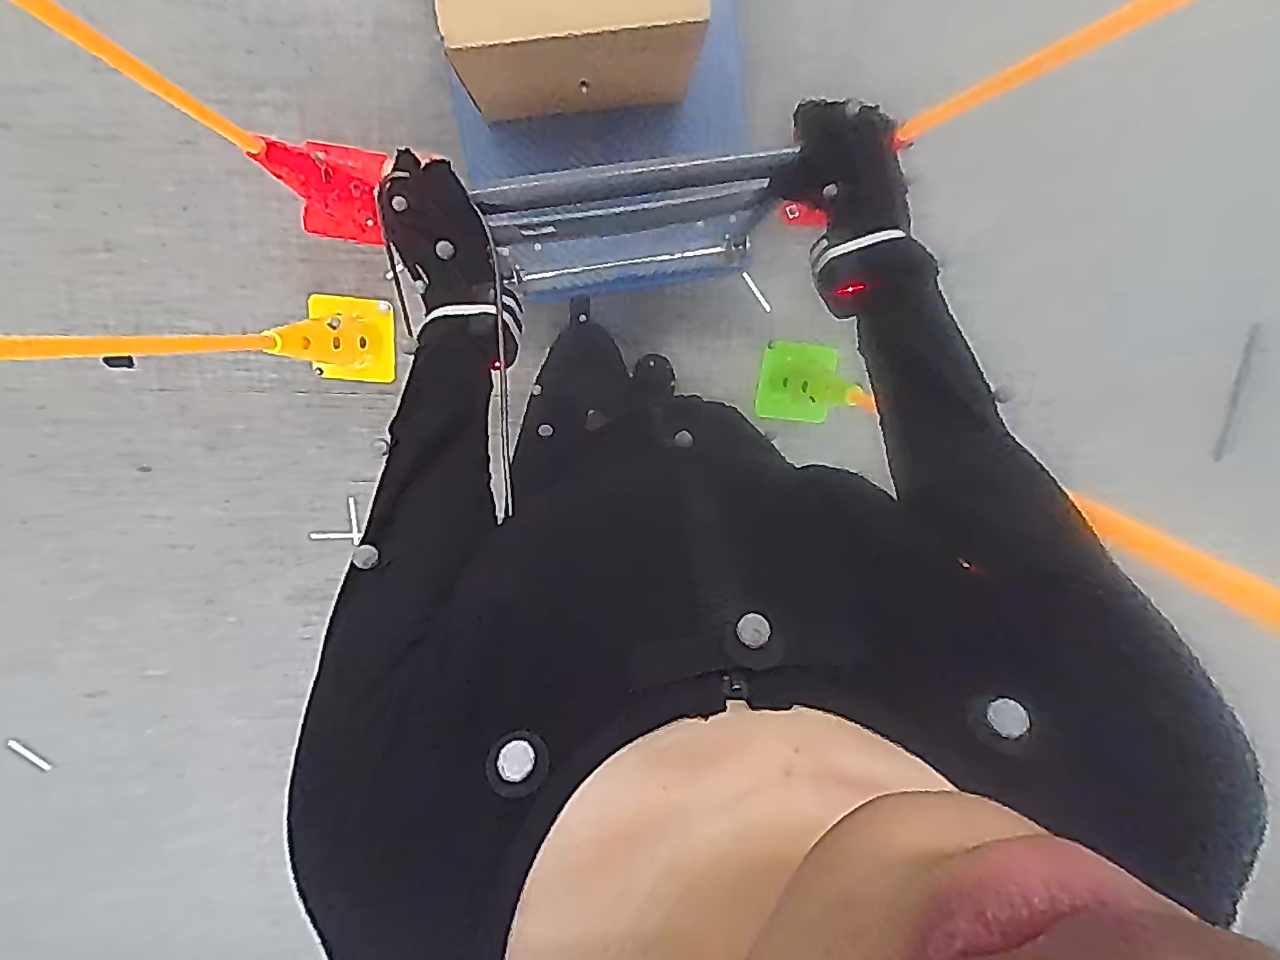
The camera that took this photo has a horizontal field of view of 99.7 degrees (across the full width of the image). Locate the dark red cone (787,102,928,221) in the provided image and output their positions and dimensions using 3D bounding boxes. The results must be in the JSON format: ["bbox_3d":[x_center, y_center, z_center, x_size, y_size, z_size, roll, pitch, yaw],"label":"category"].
[{"bbox_3d":[0.463,-0.682,1.124,0.201,0.394,0.202,1,106,-6],"label":"dark red cone"}]

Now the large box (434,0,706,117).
[{"bbox_3d":[-0.122,-0.855,0.906,0.408,0.320,0.320,-7,106,-1],"label":"large box"}]

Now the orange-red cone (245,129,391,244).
[{"bbox_3d":[-0.669,-0.624,1.087,0.198,0.360,0.199,8,103,-7],"label":"orange-red cone"}]

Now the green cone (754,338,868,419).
[{"bbox_3d":[0.424,-0.220,1.267,0.202,0.368,0.200,4,105,-6],"label":"green cone"}]
